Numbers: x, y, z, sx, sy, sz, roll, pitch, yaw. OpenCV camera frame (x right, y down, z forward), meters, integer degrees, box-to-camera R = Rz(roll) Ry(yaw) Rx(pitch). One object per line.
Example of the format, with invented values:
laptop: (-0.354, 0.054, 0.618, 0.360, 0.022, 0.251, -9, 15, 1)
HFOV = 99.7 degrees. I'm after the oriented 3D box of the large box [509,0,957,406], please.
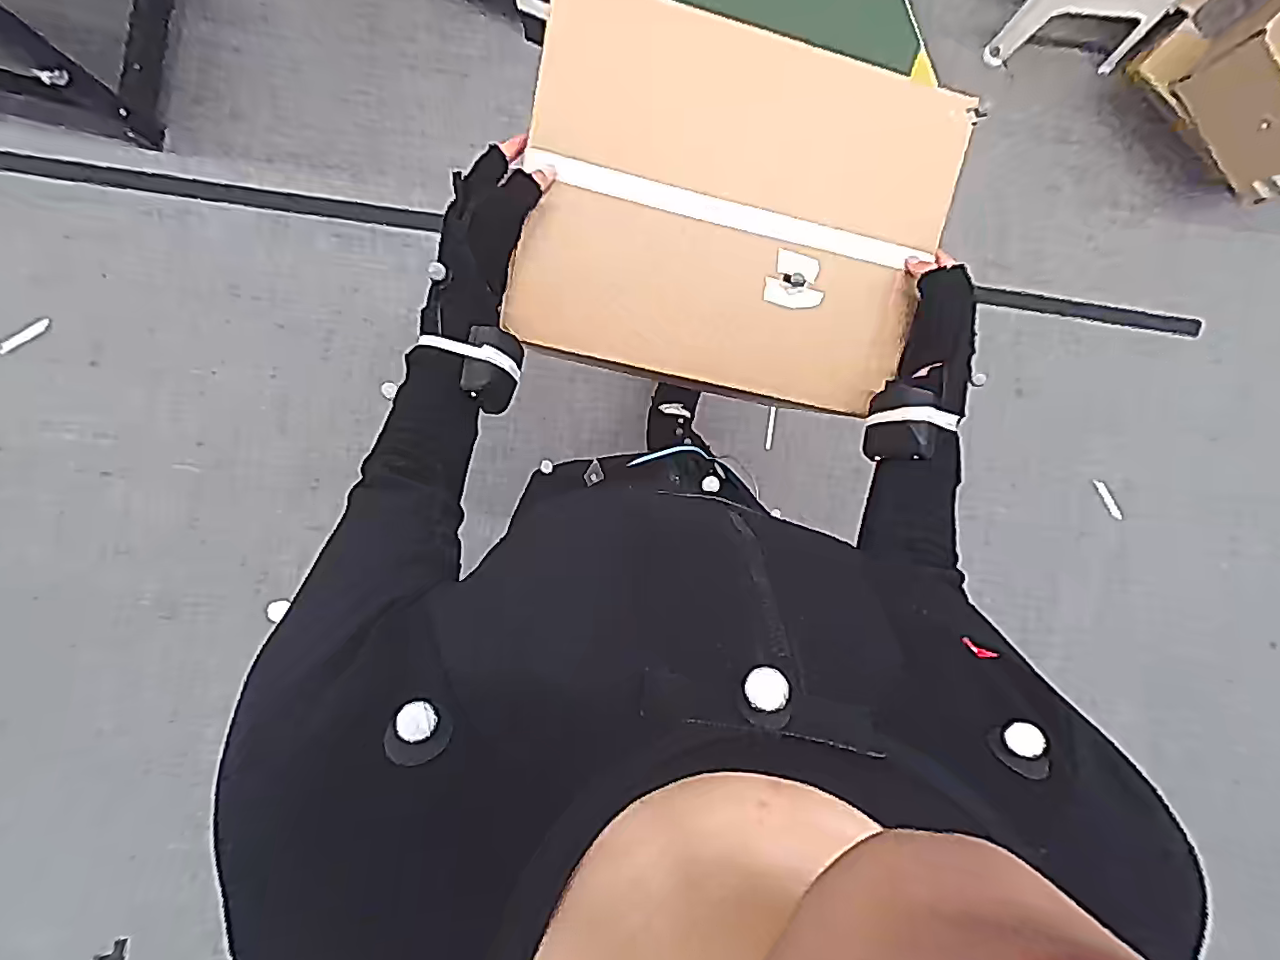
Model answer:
large box: (0.074, -0.287, 0.674, 0.408, 0.320, 0.320, 11, 100, -9)
